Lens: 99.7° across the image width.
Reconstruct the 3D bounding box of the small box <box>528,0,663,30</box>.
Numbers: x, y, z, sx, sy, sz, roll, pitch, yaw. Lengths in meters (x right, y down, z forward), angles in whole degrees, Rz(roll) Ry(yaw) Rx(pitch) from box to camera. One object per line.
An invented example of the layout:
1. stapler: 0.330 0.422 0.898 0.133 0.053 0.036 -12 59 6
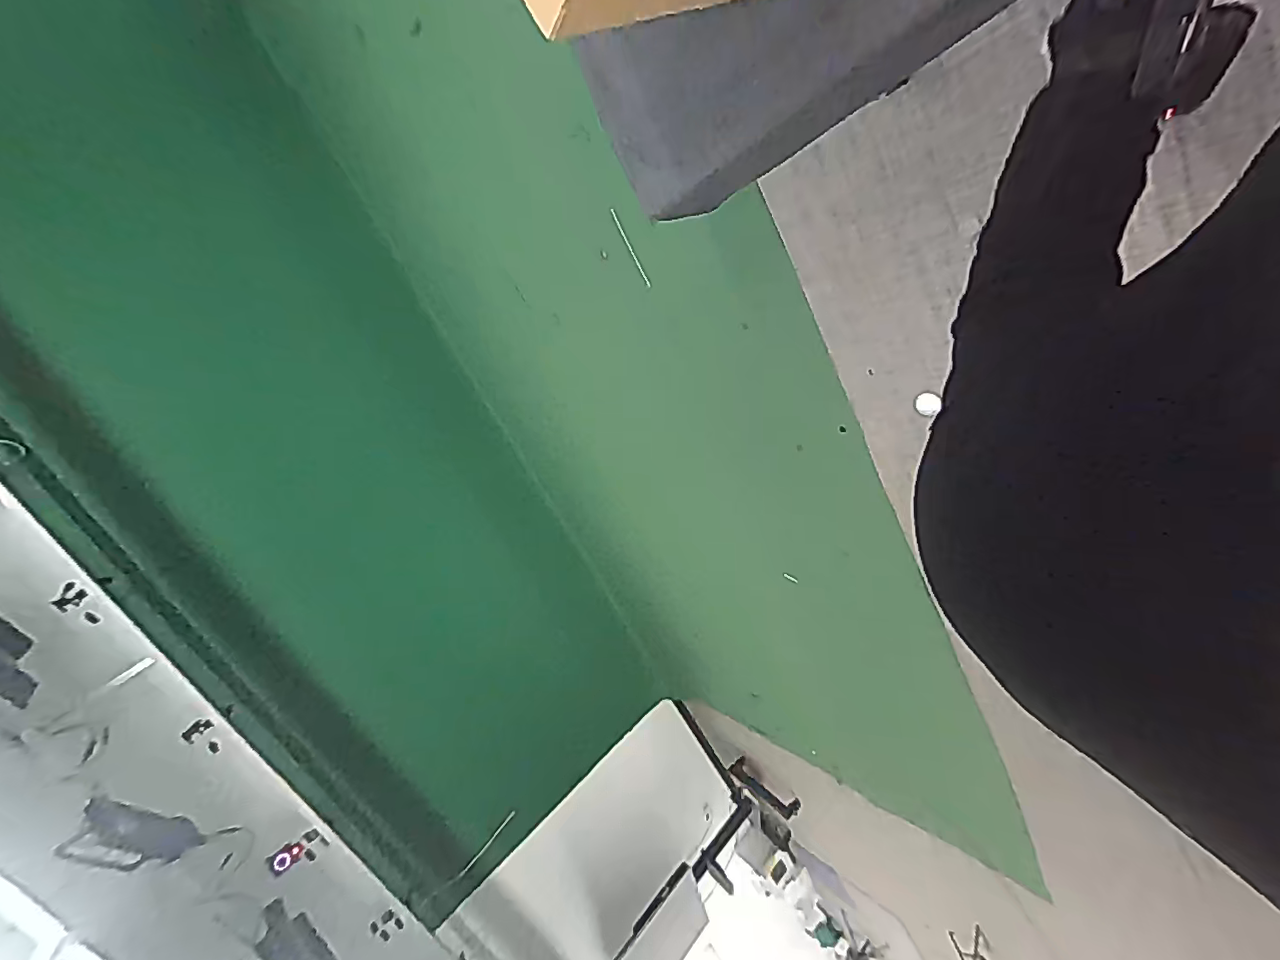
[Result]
1. small box: -0.012 -0.453 0.351 0.179 0.176 0.168 59 154 -12
